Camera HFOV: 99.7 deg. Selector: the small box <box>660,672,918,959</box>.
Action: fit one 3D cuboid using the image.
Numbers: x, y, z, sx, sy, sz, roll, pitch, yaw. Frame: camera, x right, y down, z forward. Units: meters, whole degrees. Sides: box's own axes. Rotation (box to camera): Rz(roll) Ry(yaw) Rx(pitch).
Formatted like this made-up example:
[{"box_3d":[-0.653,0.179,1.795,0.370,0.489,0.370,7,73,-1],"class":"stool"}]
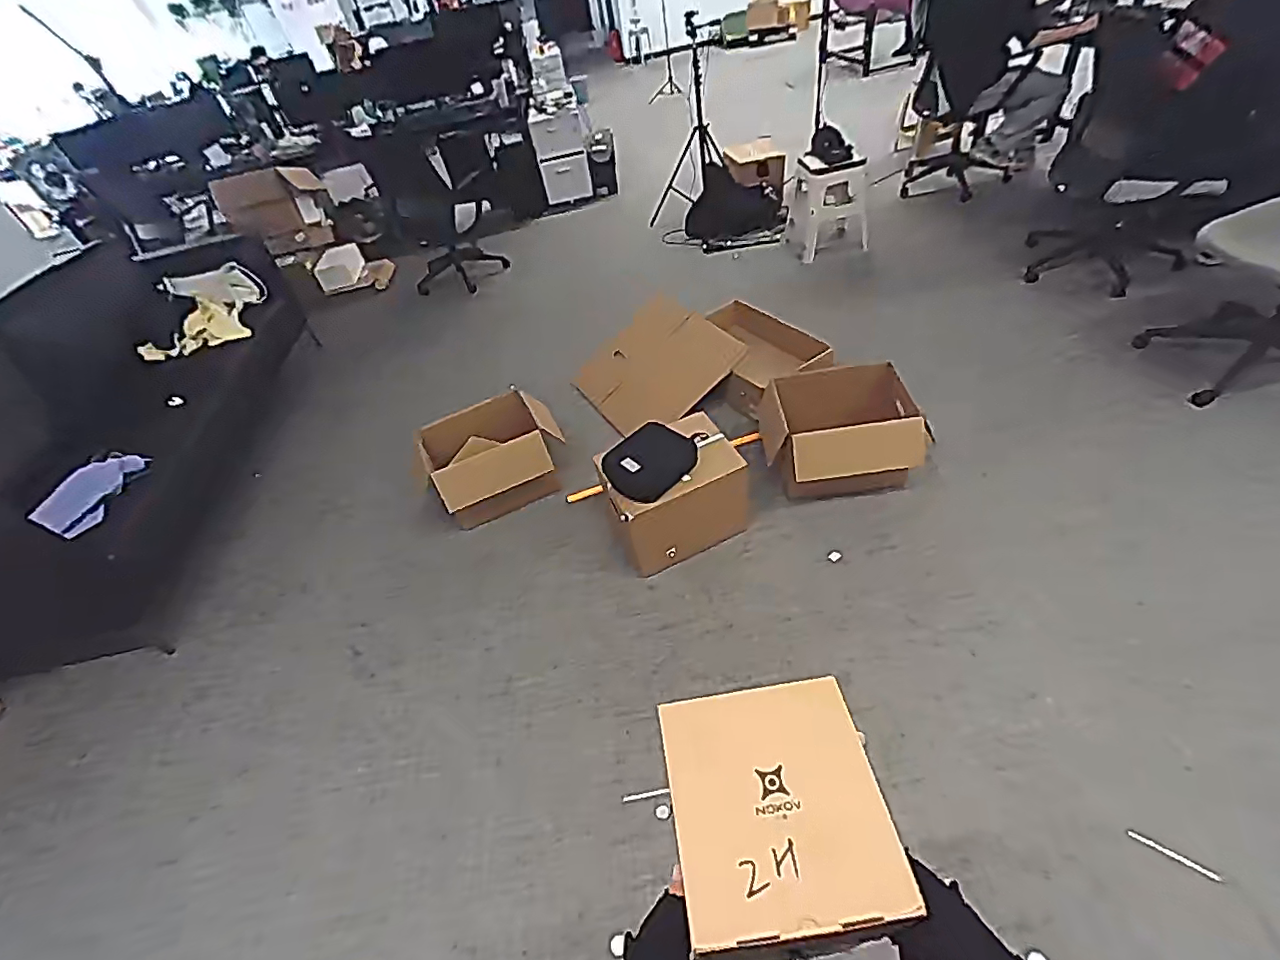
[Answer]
[{"box_3d":[0.114,0.304,0.491,0.168,0.176,0.179,-10,44,0],"class":"small box"}]
